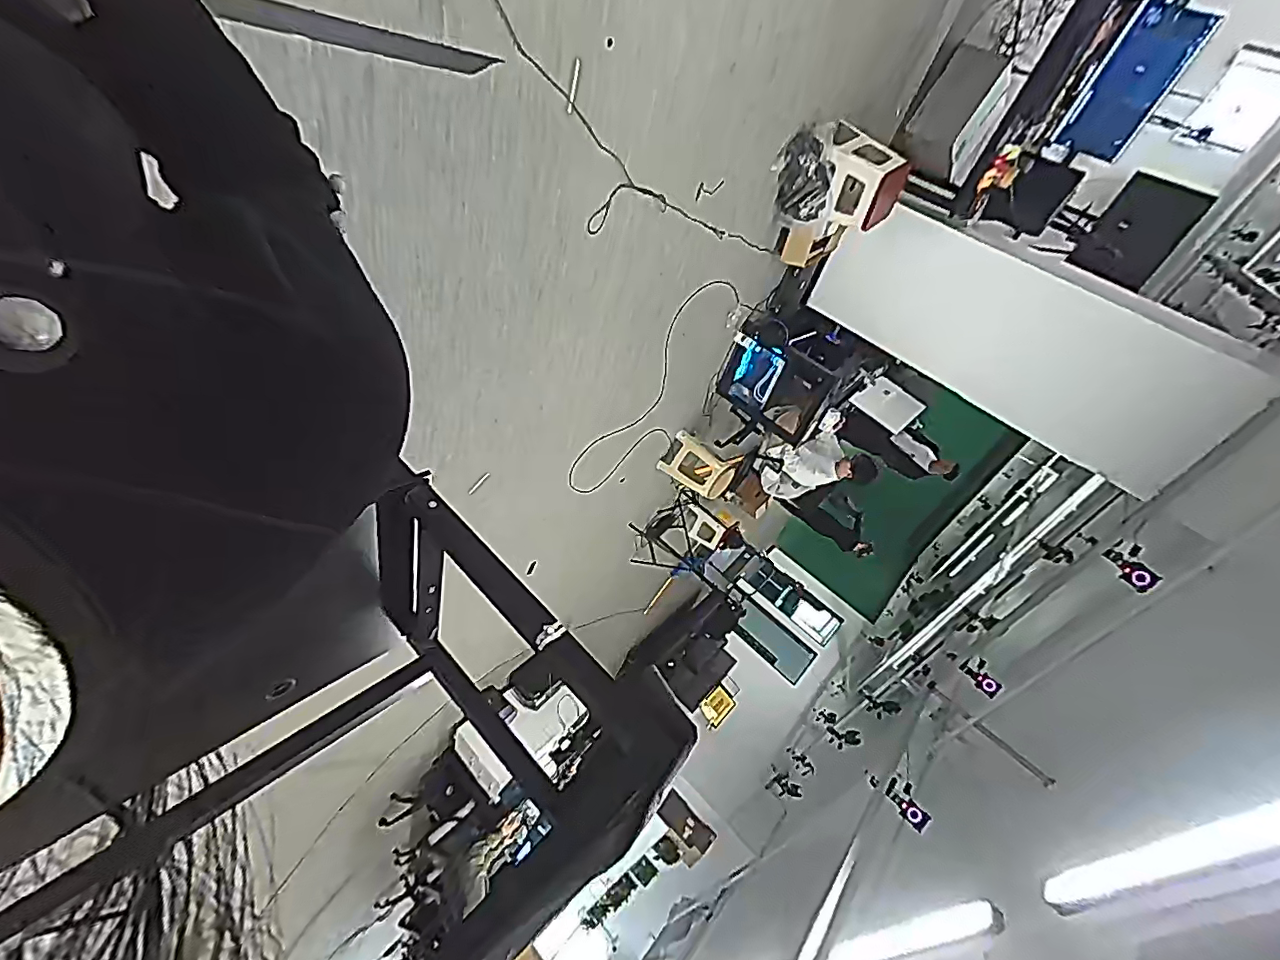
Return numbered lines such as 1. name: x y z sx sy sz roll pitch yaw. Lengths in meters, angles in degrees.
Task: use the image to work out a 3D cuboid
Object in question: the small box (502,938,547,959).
1. small box: -0.164 0.728 0.672 0.168 0.176 0.179 -26 150 -46
